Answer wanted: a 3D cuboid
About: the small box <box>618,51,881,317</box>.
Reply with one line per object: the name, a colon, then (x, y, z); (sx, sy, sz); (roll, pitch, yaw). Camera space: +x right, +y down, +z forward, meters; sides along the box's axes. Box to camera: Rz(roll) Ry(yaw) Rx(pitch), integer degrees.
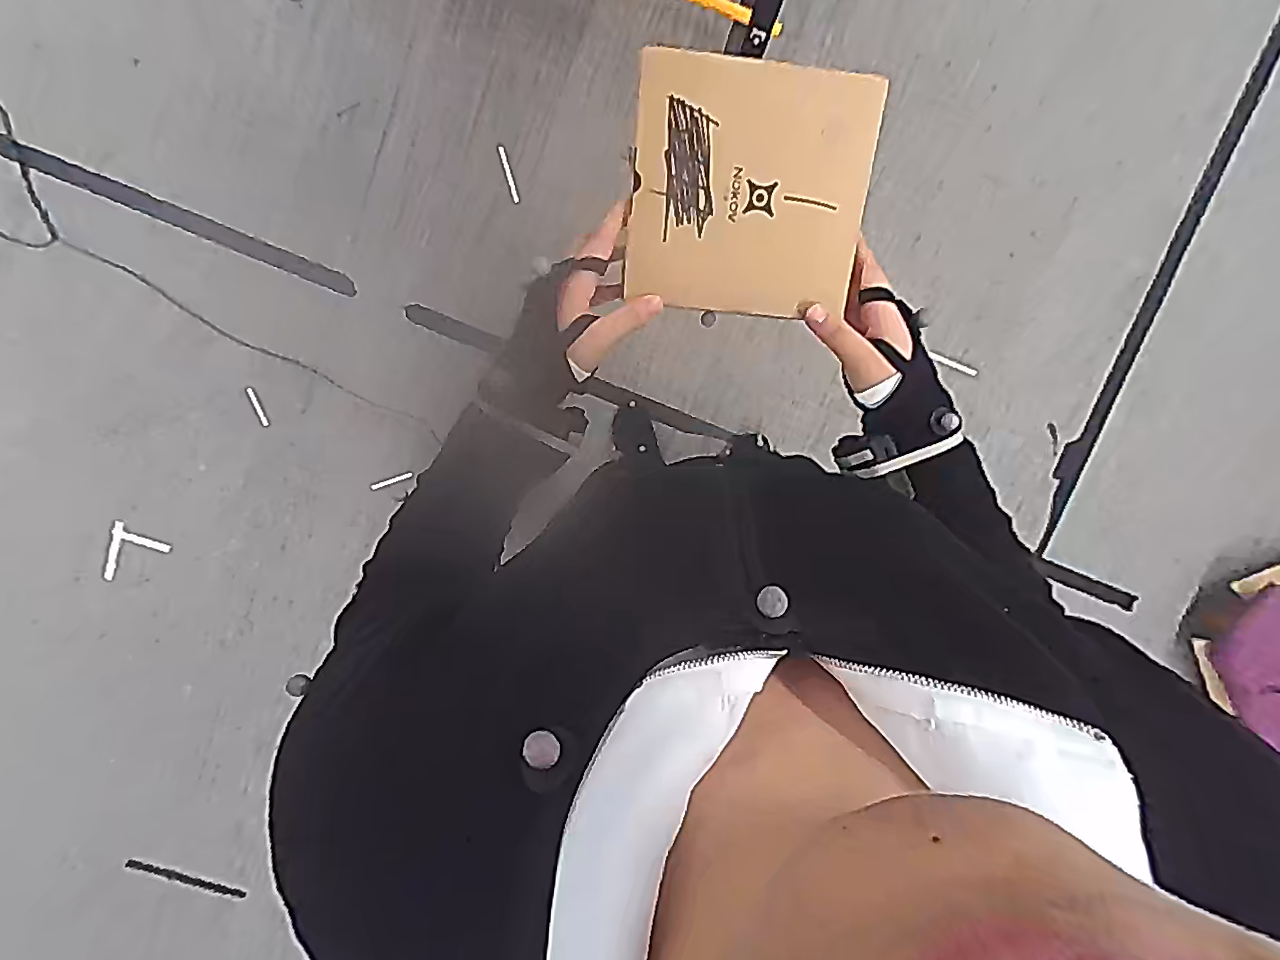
small box: (0.076, -0.237, 0.478); (0.179, 0.176, 0.168); (5, 108, -3)
